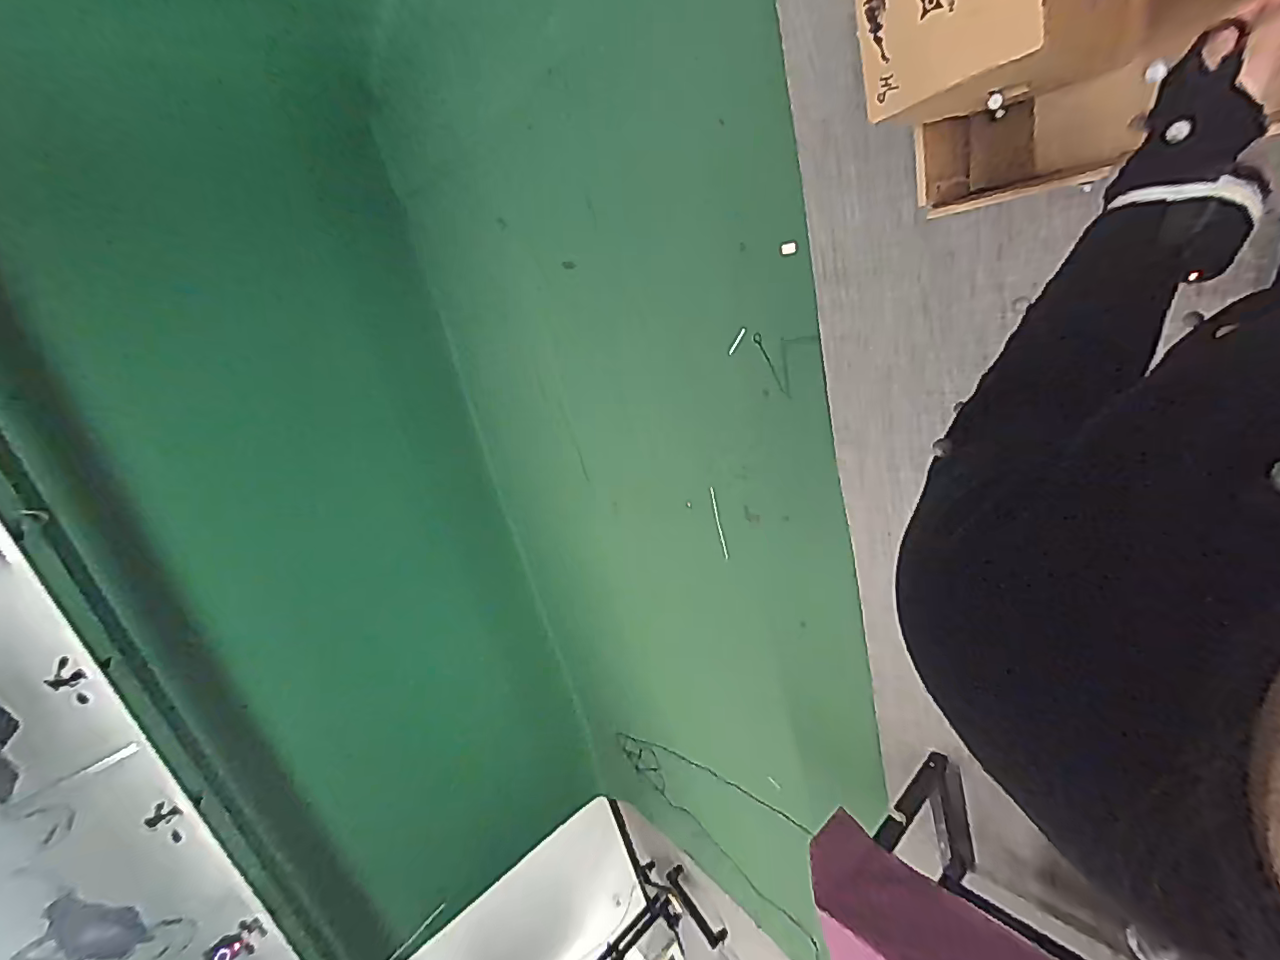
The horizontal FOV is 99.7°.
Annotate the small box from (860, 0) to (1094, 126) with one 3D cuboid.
[{"bbox_3d":[0.366,-0.512,0.585,0.179,0.176,0.168,9,119,52],"label":"small box"}]
